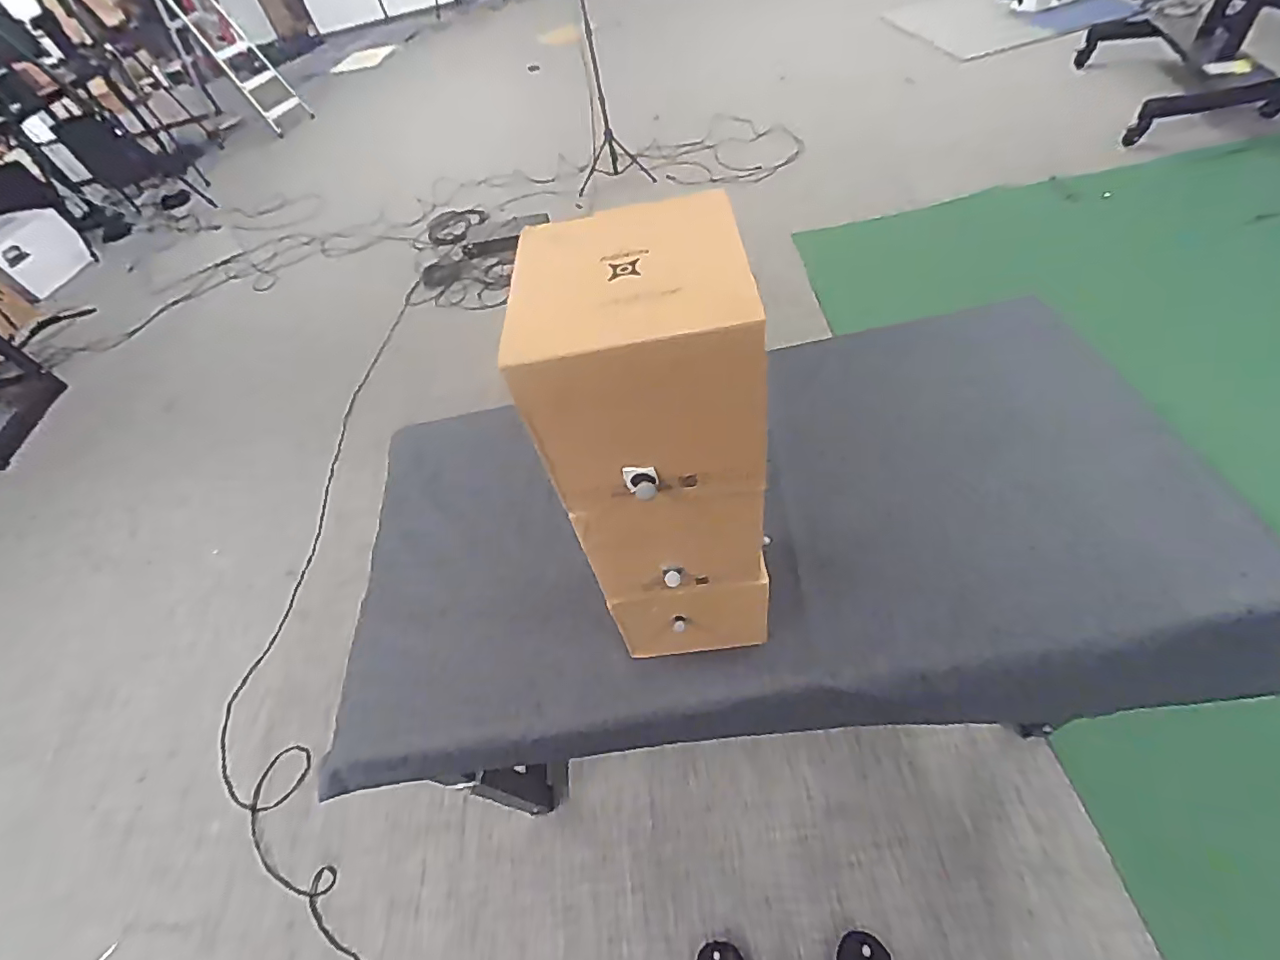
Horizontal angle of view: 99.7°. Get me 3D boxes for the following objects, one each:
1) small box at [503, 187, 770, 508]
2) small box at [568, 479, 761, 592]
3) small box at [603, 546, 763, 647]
[{"bbox_3d":[0.006,-0.101,0.438,0.168,0.176,0.179,-8,52,7],"label":"small box"},{"bbox_3d":[0.028,-0.004,0.565,0.168,0.176,0.179,-8,52,5],"label":"small box"},{"bbox_3d":[0.057,0.101,0.689,0.179,0.176,0.168,-8,52,6],"label":"small box"}]
